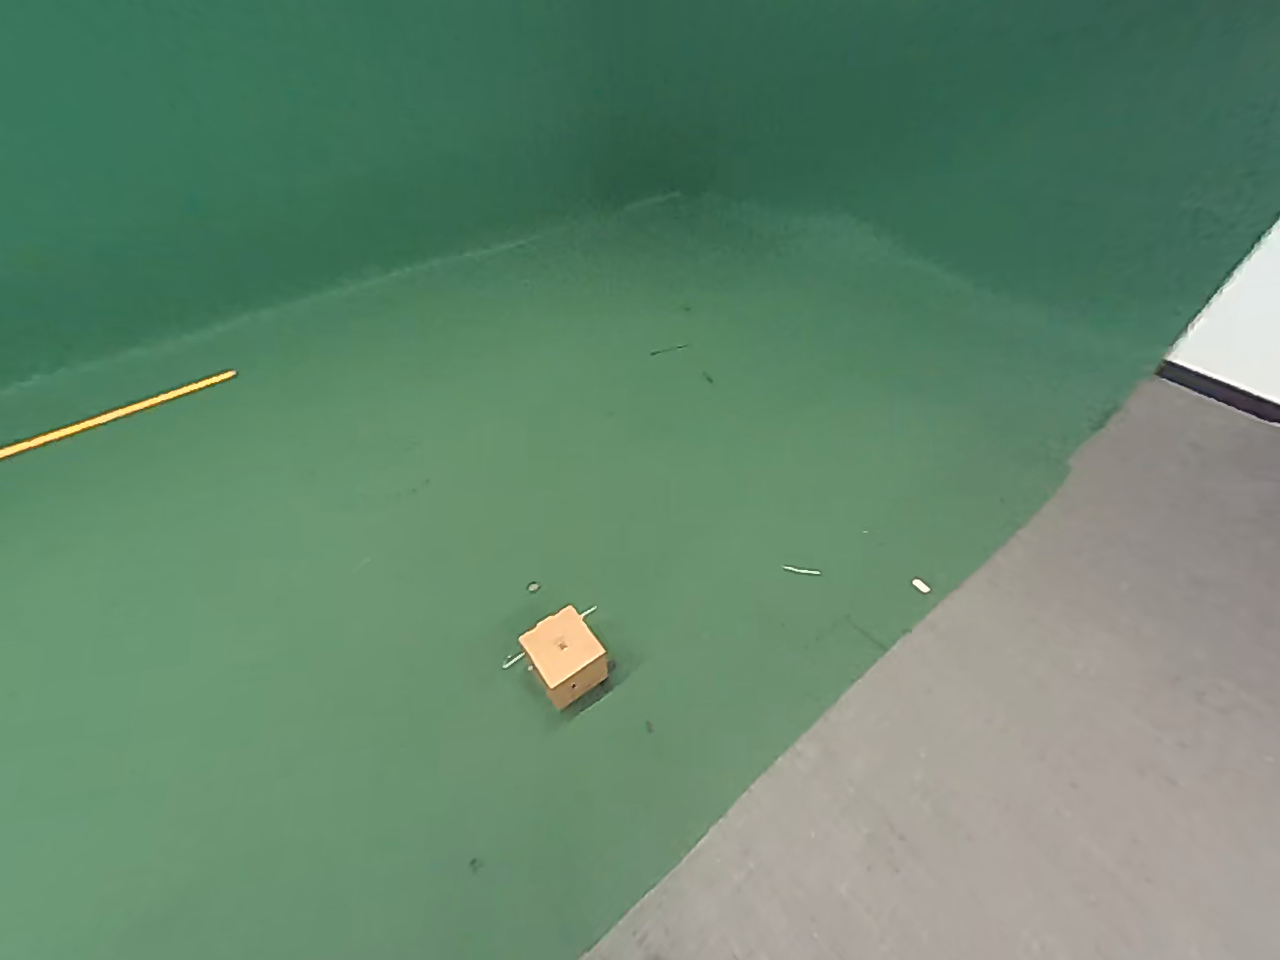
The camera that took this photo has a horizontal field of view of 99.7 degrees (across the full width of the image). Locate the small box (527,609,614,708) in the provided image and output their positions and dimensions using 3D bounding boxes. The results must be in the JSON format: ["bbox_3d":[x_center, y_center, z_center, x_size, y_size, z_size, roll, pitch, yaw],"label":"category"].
[{"bbox_3d":[-0.184,0.497,1.483,0.168,0.176,0.179,-30,52,-23],"label":"small box"}]
